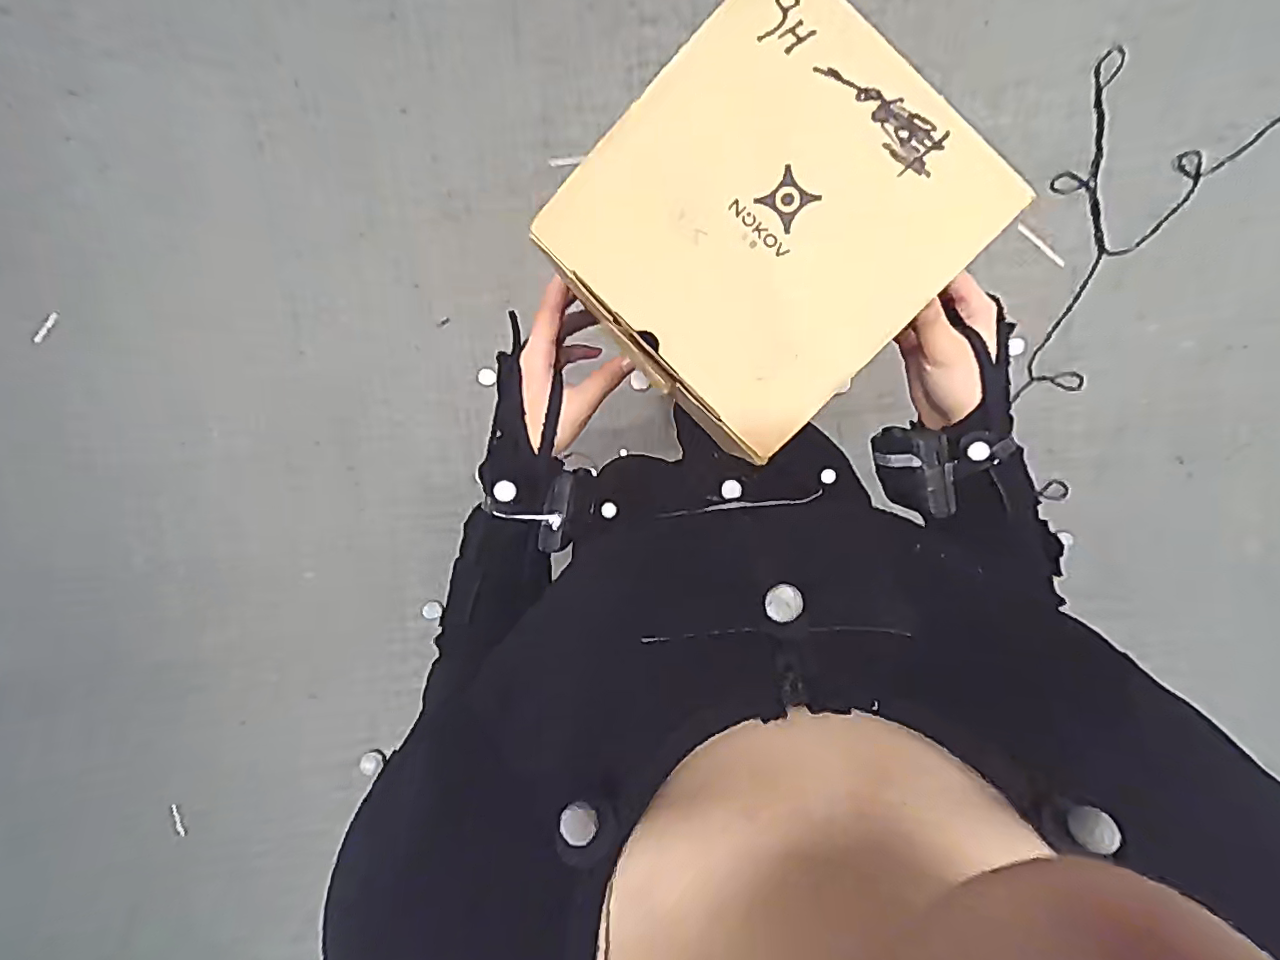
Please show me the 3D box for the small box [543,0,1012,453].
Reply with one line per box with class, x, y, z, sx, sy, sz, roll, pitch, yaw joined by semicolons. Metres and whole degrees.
small box;0.071;-0.135;0.348;0.168;0.176;0.179;44;96;0
